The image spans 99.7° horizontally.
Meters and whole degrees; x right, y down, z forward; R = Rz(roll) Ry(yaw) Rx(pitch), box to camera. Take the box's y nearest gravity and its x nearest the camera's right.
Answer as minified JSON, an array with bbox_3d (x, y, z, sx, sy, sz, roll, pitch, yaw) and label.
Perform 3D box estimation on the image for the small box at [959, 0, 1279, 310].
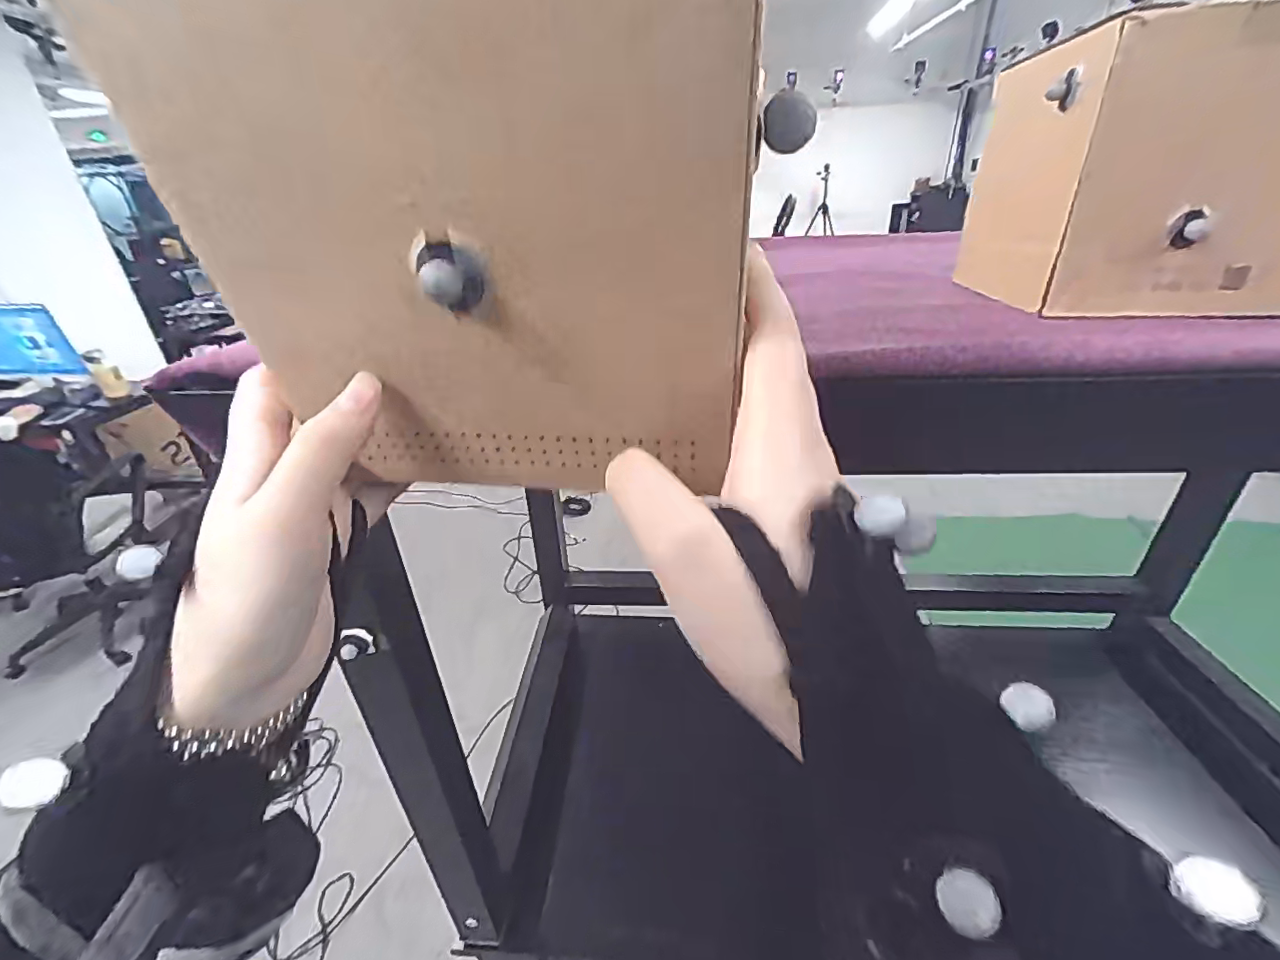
[{"bbox_3d":[0.356,-0.224,0.385,0.168,0.176,0.179,2,29,9],"label":"small box"}]
